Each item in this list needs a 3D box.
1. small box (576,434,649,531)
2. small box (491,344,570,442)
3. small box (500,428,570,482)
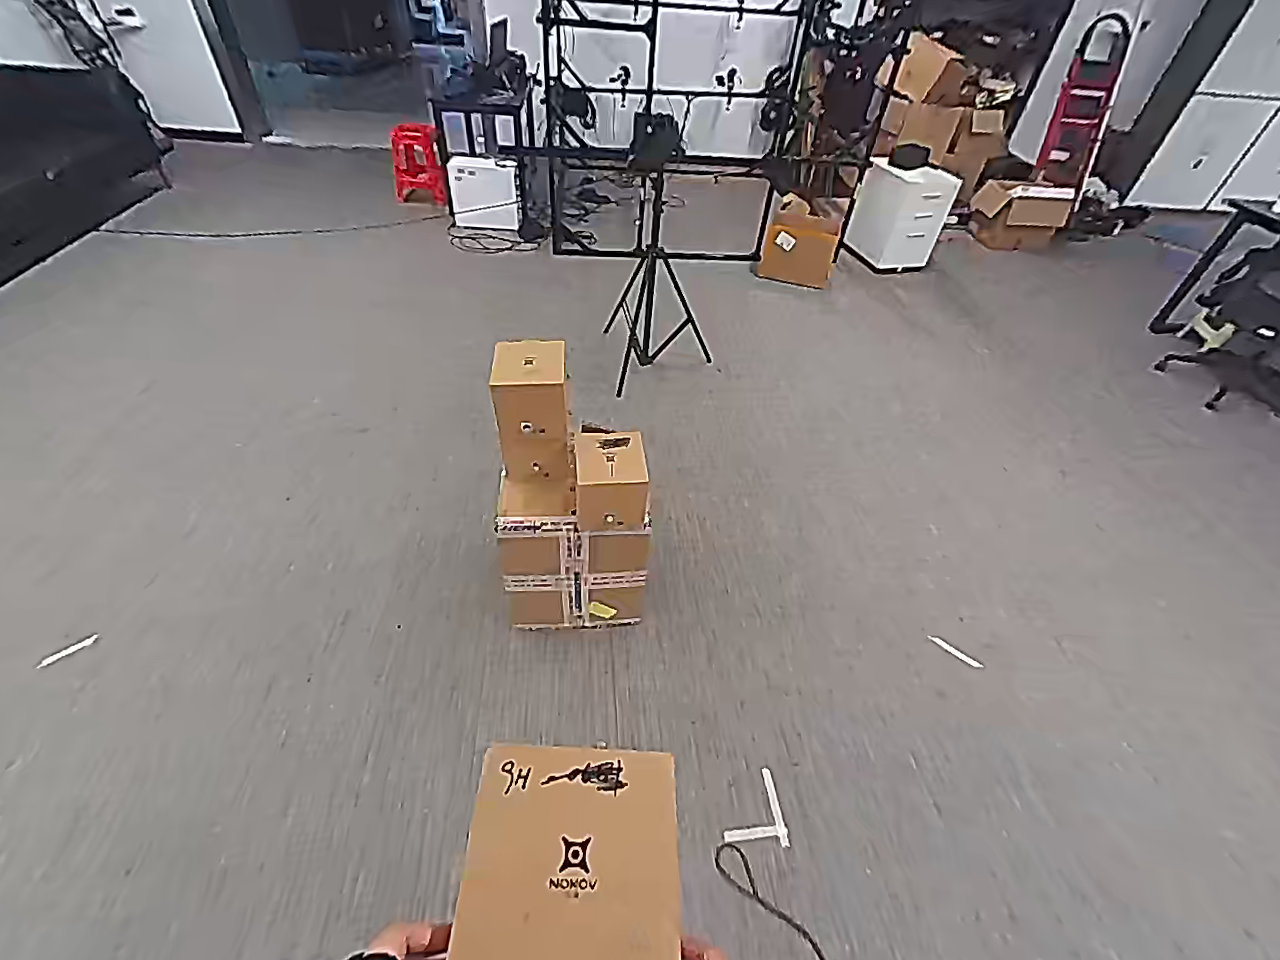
[{"bbox_3d":[-0.075,0.006,1.340,0.168,0.176,0.179,-2,47,-8],"label":"small box"},{"bbox_3d":[-0.258,-0.210,1.307,0.168,0.176,0.179,-3,48,-5],"label":"small box"},{"bbox_3d":[-0.273,-0.113,1.438,0.168,0.176,0.179,-2,47,-5],"label":"small box"}]
